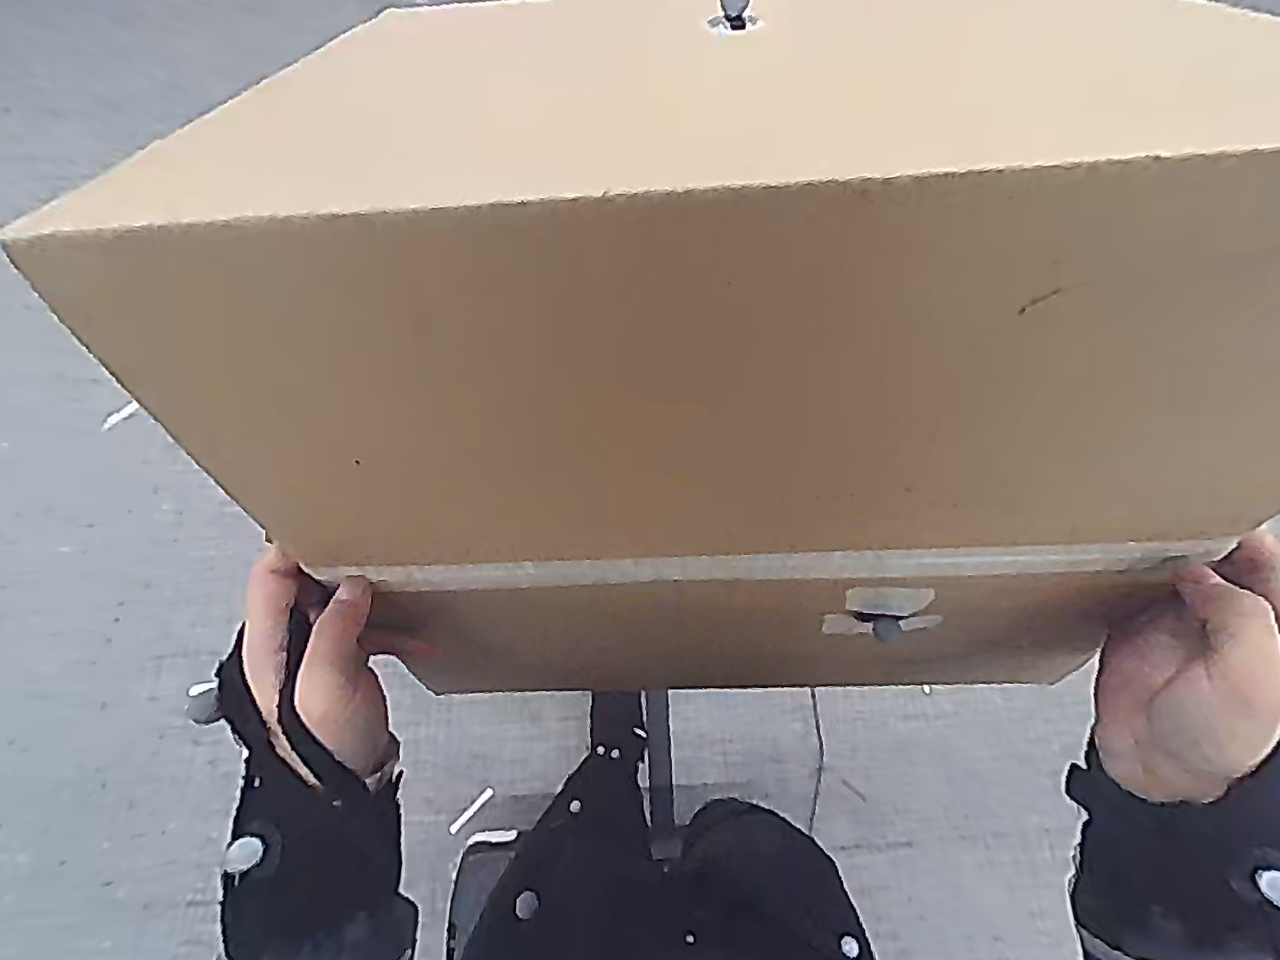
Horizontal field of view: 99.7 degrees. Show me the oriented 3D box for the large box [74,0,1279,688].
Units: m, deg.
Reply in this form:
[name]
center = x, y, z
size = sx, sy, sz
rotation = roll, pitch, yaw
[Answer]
[large box]
center = 0.042, -0.081, 0.350
size = 0.408, 0.320, 0.320
rotation = -3, 50, 3
